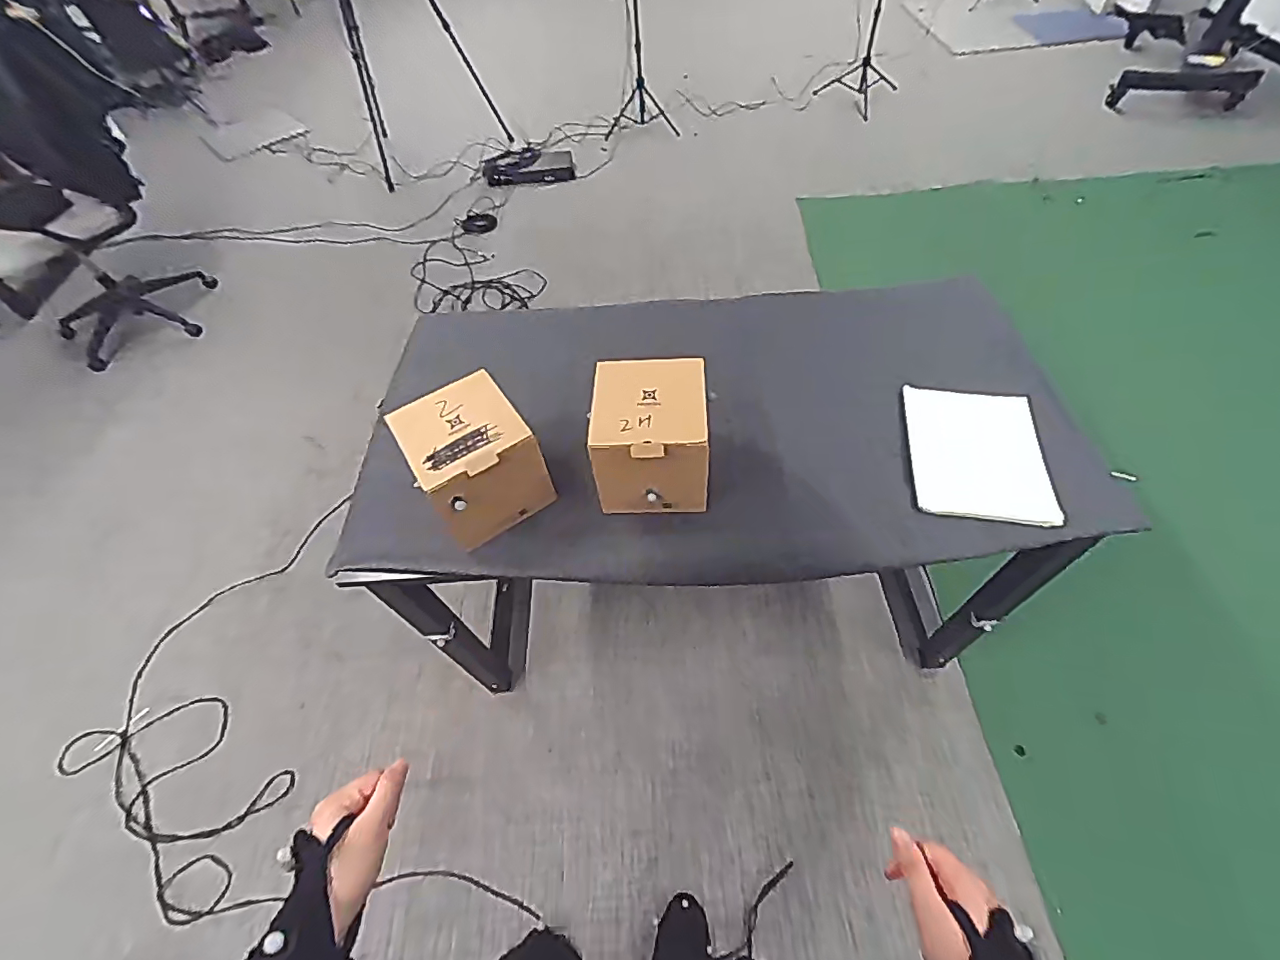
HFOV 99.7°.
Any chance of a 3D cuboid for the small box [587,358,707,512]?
[{"bbox_3d":[0.018,-0.068,0.847,0.168,0.176,0.179,-2,54,5],"label":"small box"}]
